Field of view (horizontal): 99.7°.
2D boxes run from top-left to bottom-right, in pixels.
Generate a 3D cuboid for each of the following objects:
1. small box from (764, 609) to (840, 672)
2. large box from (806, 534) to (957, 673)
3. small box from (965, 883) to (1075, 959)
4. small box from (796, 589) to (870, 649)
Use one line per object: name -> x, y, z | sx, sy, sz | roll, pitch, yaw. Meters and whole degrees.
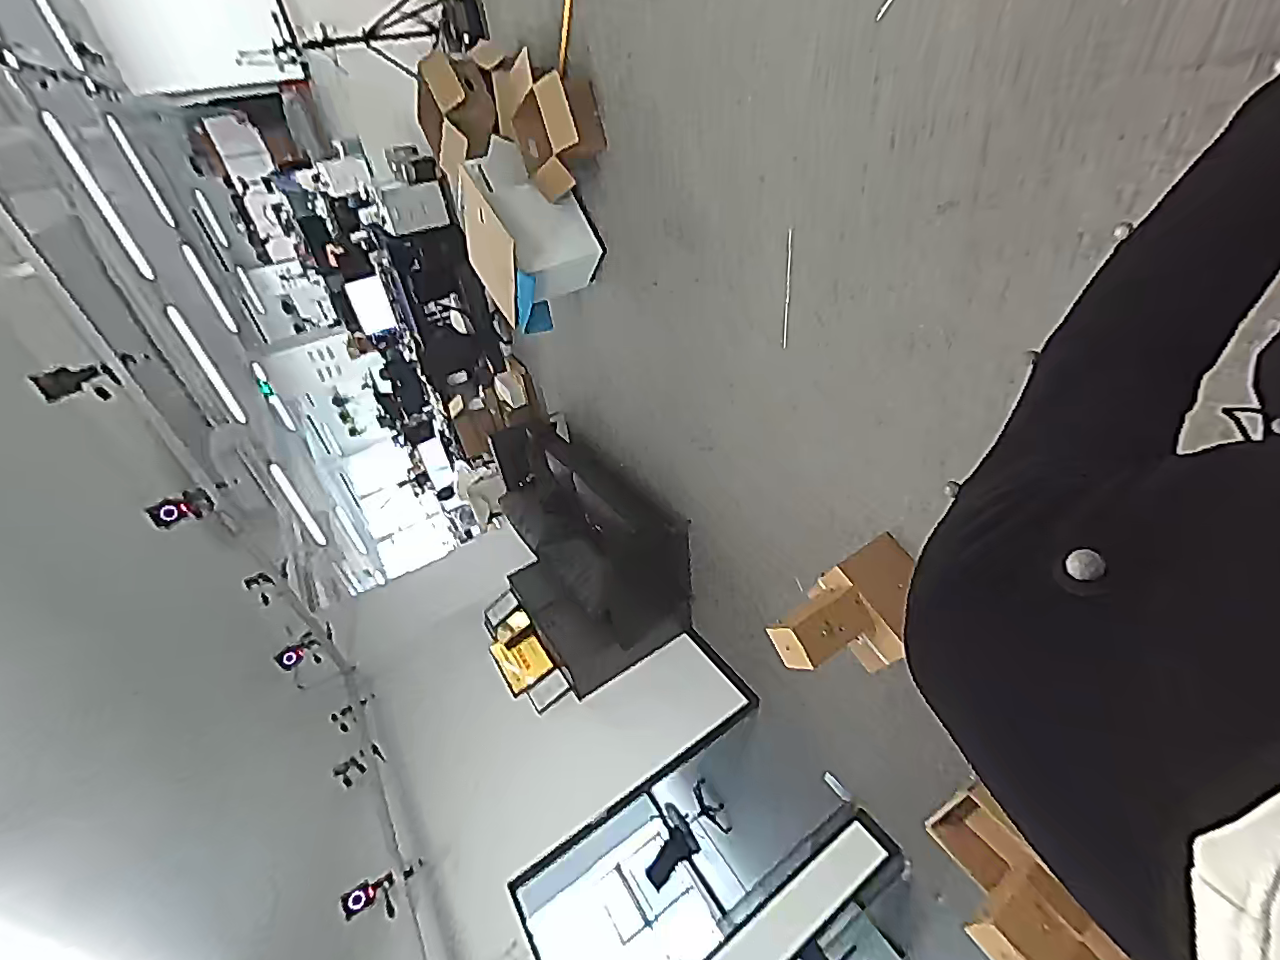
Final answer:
small box -> 0.610, 0.600, 2.035 | 0.168, 0.176, 0.179 | 61, 155, 5
large box -> 0.974, 0.503, 2.217 | 0.408, 0.320, 0.320 | 53, 155, 23
small box -> 1.068, 1.284, 1.520 | 0.168, 0.176, 0.179 | 44, 149, 36
small box -> 0.750, 0.536, 2.101 | 0.168, 0.176, 0.179 | 62, 157, 5
